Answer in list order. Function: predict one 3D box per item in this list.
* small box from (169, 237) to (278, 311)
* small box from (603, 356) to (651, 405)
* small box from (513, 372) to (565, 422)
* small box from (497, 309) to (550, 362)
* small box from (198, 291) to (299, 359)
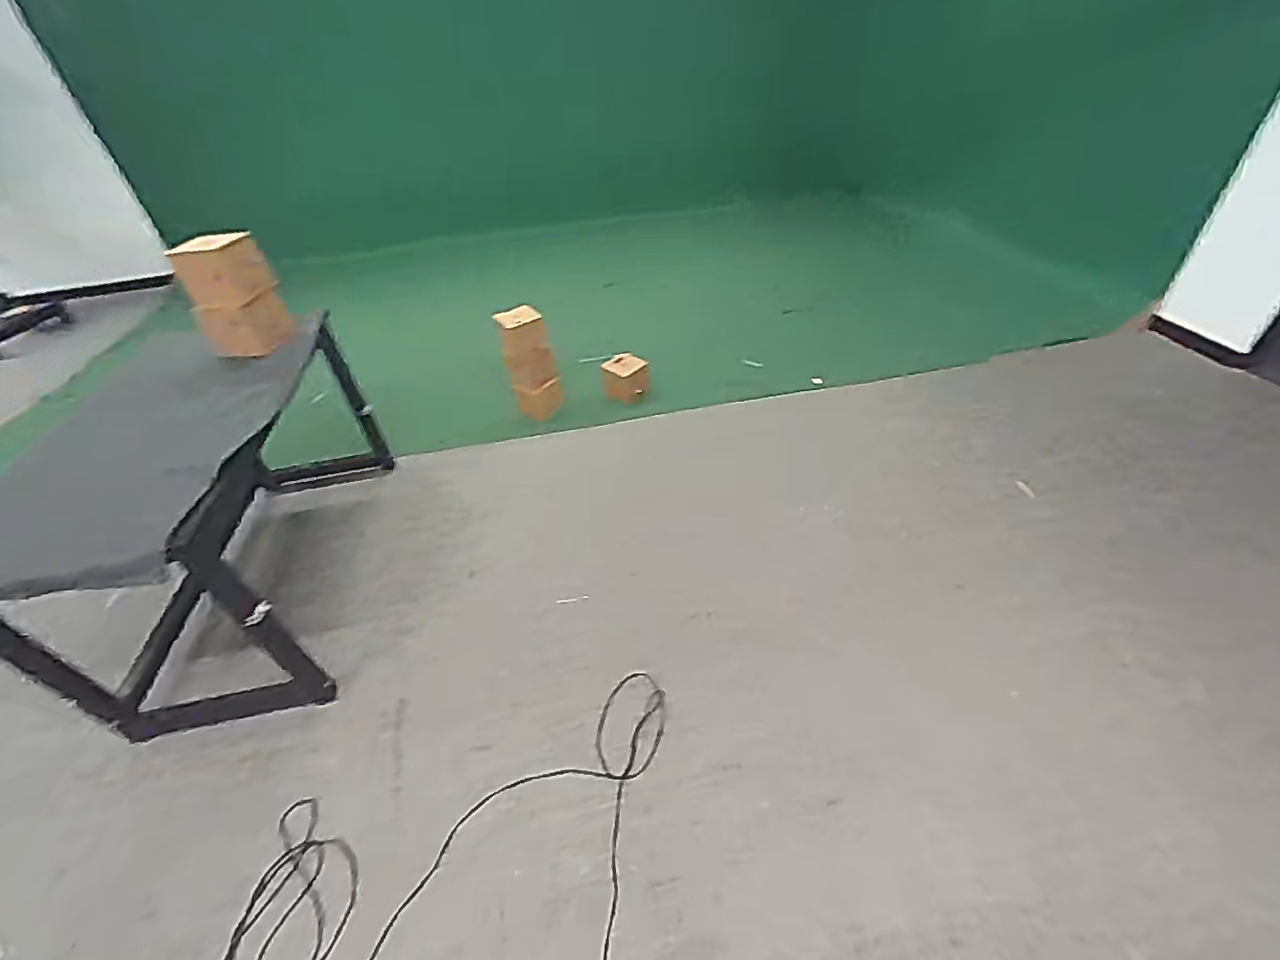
[{"bbox_3d":[-1.297,-0.647,1.702,0.179,0.176,0.168,-2,40,9],"label":"small box"},{"bbox_3d":[-0.064,-0.501,2.741,0.179,0.176,0.168,29,52,33],"label":"small box"},{"bbox_3d":[-0.497,-0.408,2.694,0.179,0.176,0.168,22,49,30],"label":"small box"},{"bbox_3d":[-0.537,-0.664,2.490,0.168,0.176,0.179,-28,45,-22],"label":"small box"},{"bbox_3d":[-1.288,-0.512,1.794,0.179,0.176,0.168,2,42,12],"label":"small box"}]
